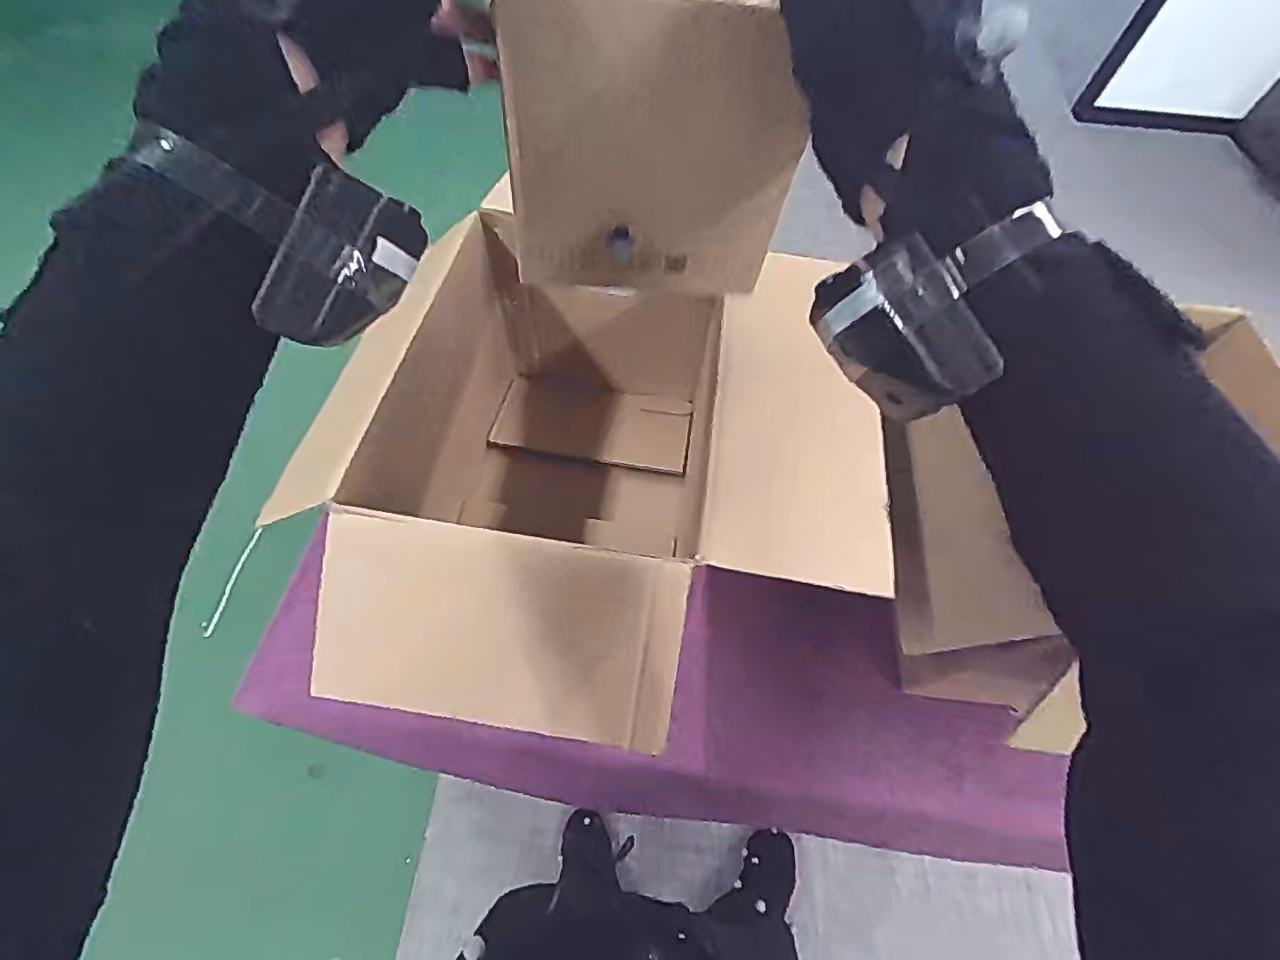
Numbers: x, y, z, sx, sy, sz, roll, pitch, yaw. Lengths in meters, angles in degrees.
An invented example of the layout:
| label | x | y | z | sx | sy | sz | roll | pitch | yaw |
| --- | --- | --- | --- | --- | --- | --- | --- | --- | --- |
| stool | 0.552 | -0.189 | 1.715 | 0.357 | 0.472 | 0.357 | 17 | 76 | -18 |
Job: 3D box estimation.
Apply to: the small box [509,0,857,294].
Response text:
| label | x | y | z | sx | sy | sz | roll | pitch | yaw |
| --- | --- | --- | --- | --- | --- | --- | --- | --- | --- |
| small box | 0.010 | -0.250 | 0.354 | 0.168 | 0.176 | 0.179 | 0 | 61 | -5 |
